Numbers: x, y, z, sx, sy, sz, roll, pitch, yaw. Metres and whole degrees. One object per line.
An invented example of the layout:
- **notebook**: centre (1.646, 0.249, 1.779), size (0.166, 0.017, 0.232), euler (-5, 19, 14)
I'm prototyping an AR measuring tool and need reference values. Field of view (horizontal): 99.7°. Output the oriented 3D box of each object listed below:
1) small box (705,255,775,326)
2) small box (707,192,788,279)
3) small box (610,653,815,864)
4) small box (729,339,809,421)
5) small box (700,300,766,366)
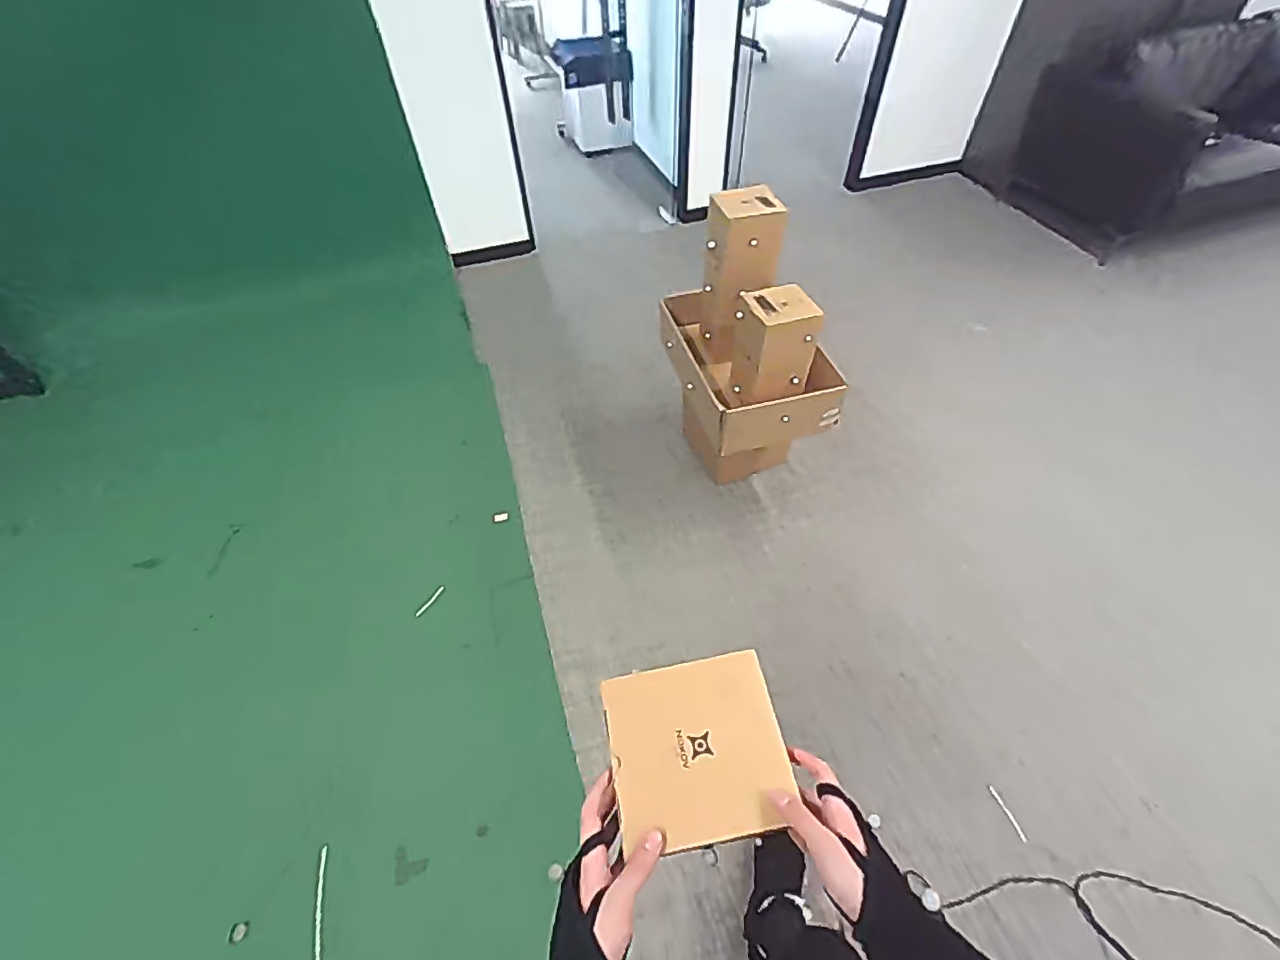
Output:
- **small box**: centre (0.309, -0.611, 1.717), size (0.179, 0.176, 0.168), euler (-12, 53, -8)
- **small box**: centre (0.308, -0.715, 1.589), size (0.179, 0.176, 0.168), euler (-12, 52, -8)
- **small box**: centre (0.069, 0.312, 0.605), size (0.179, 0.176, 0.168), euler (-11, 55, -3)
- **small box**: centre (0.391, -0.307, 1.671), size (0.179, 0.176, 0.168), euler (-13, 50, -10)
- **small box**: centre (0.309, -0.505, 1.841), size (0.179, 0.176, 0.168), euler (-10, 52, -8)
